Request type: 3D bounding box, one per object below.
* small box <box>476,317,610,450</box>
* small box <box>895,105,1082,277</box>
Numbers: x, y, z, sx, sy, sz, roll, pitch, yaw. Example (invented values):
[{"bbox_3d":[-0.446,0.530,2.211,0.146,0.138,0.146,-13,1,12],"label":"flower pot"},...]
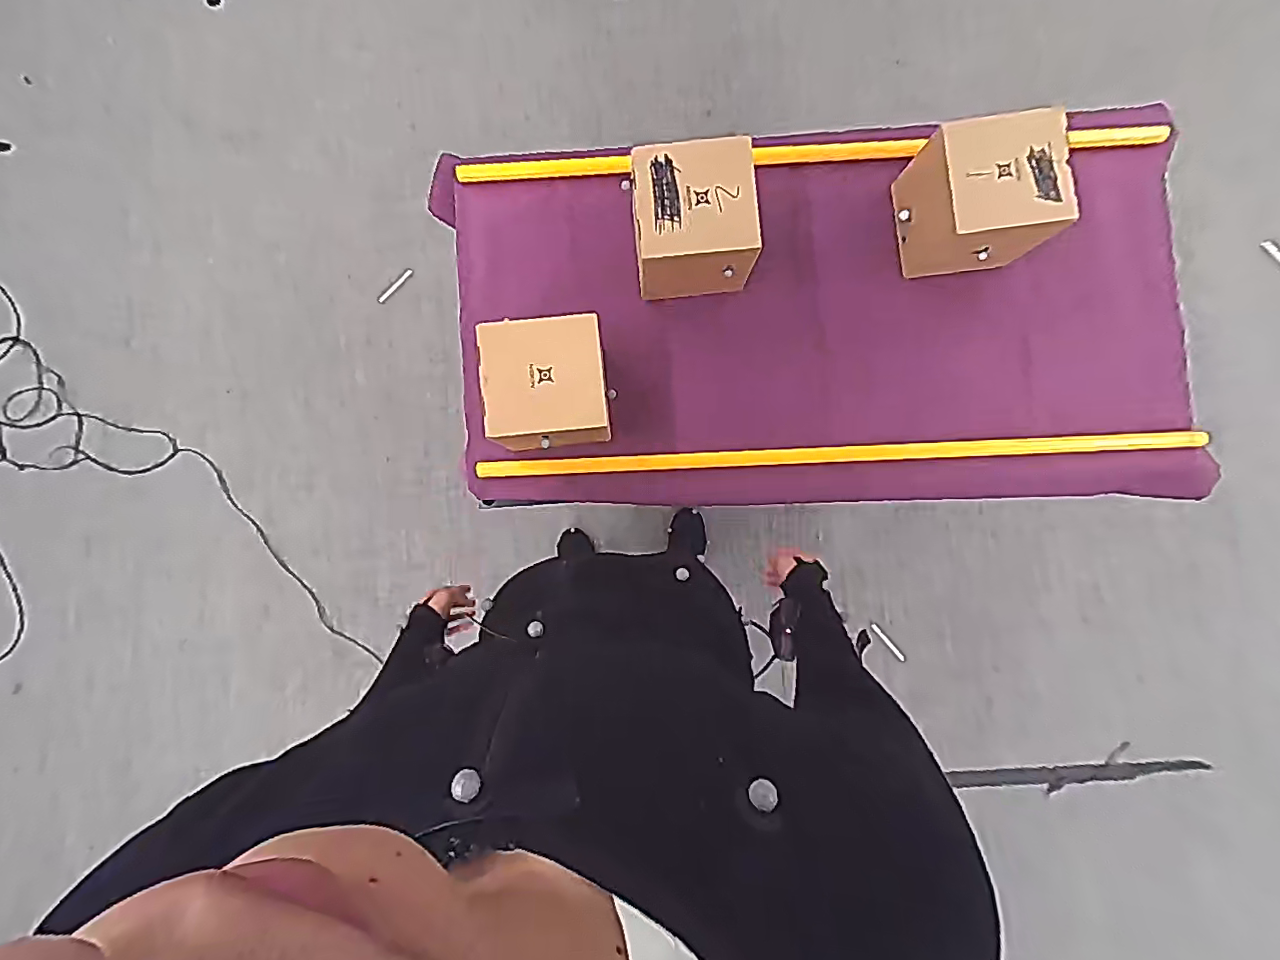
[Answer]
[{"bbox_3d":[-0.139,-0.141,0.838,0.179,0.176,0.168,-6,87,0],"label":"small box"},{"bbox_3d":[0.523,-0.432,0.834,0.179,0.176,0.168,-7,89,2],"label":"small box"}]
